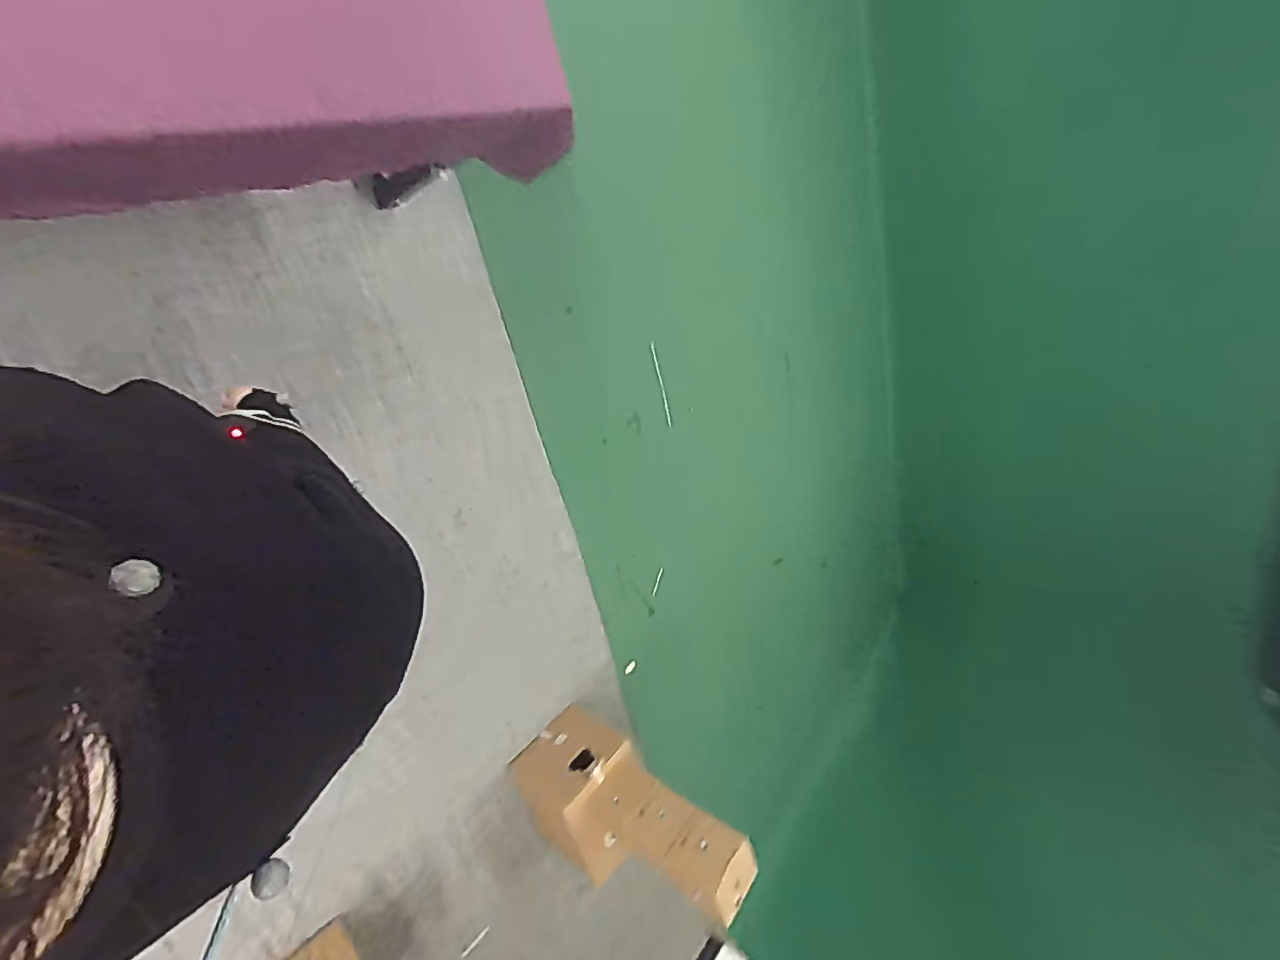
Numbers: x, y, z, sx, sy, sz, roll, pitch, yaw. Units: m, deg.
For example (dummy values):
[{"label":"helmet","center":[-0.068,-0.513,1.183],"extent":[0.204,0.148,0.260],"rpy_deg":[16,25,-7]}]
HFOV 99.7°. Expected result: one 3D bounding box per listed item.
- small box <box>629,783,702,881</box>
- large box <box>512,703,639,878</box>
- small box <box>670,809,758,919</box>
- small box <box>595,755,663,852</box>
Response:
[{"label":"small box","center":[0.092,1.067,1.656],"extent":[0.168,0.176,0.179],"rpy_deg":[-41,123,-36]},{"label":"large box","center":[-0.198,1.097,1.948],"extent":[0.320,0.320,0.408],"rpy_deg":[-35,120,-38]},{"label":"small box","center":[0.210,1.081,1.542],"extent":[0.168,0.176,0.179],"rpy_deg":[-39,121,-37]},{"label":"small box","center":[-0.029,1.047,1.765],"extent":[0.179,0.176,0.168],"rpy_deg":[-37,121,-39]}]
